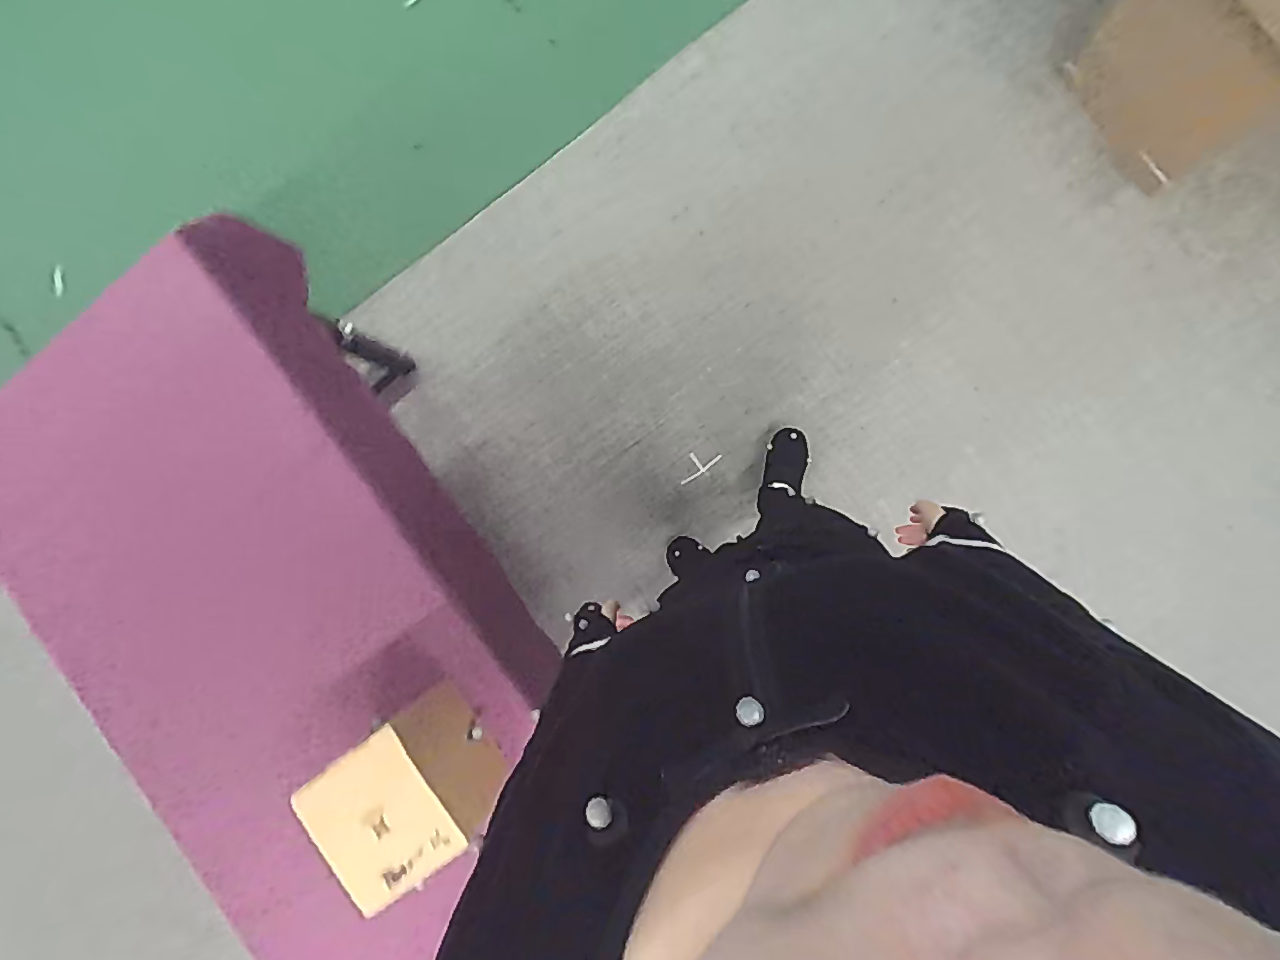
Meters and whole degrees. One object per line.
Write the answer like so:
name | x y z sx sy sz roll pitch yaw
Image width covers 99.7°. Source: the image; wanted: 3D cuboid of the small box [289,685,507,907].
small box | -0.315 0.407 0.737 0.168 0.176 0.179 -37 85 5
